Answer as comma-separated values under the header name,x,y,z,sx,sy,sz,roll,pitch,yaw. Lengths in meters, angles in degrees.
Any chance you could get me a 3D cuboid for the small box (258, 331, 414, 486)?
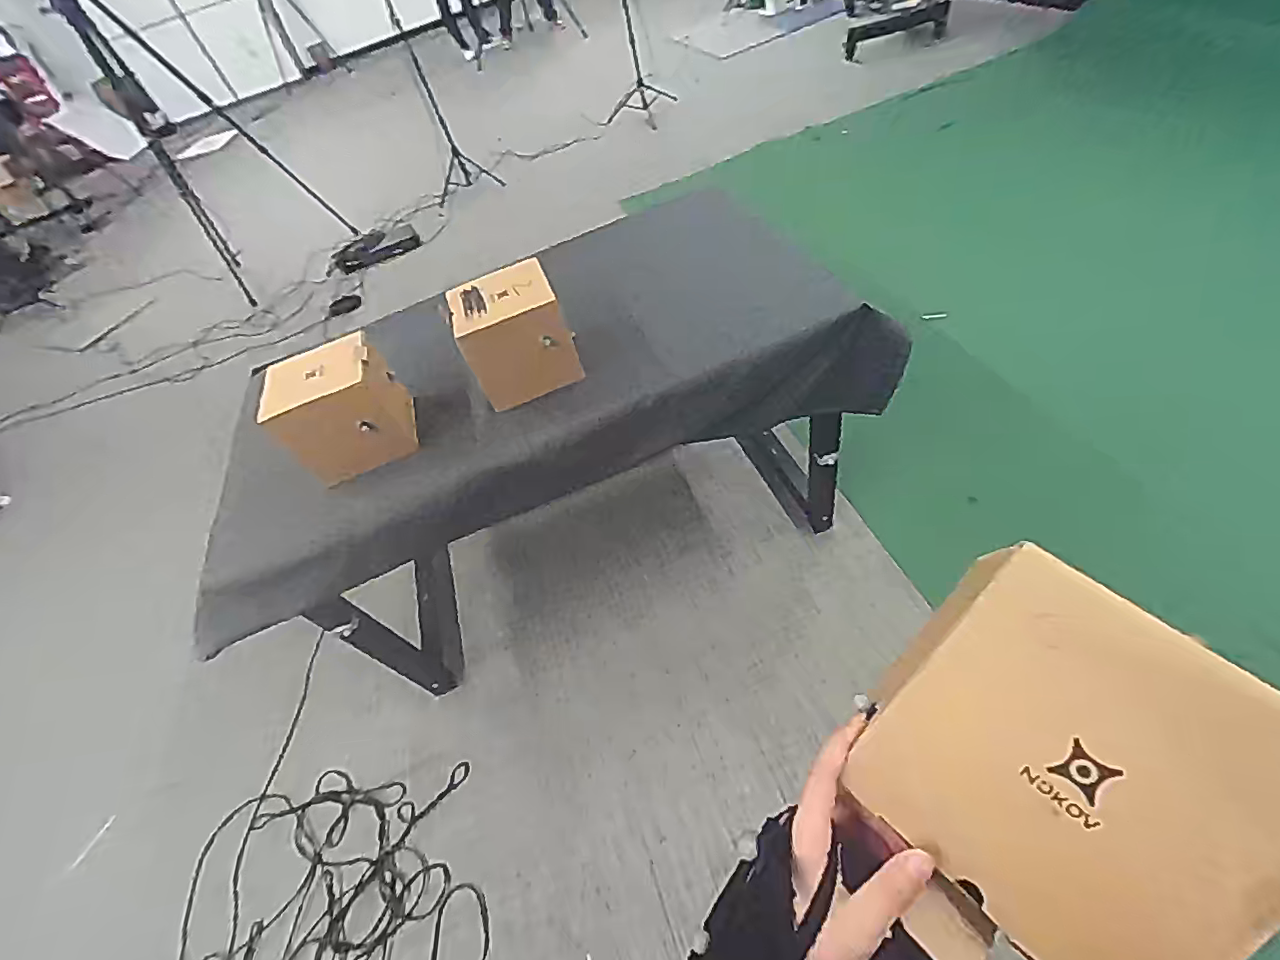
name,x,y,z,sx,sy,sz,roll,pitch,yaw
small box,-0.514,-0.121,0.944,0.179,0.176,0.168,-24,48,-3
